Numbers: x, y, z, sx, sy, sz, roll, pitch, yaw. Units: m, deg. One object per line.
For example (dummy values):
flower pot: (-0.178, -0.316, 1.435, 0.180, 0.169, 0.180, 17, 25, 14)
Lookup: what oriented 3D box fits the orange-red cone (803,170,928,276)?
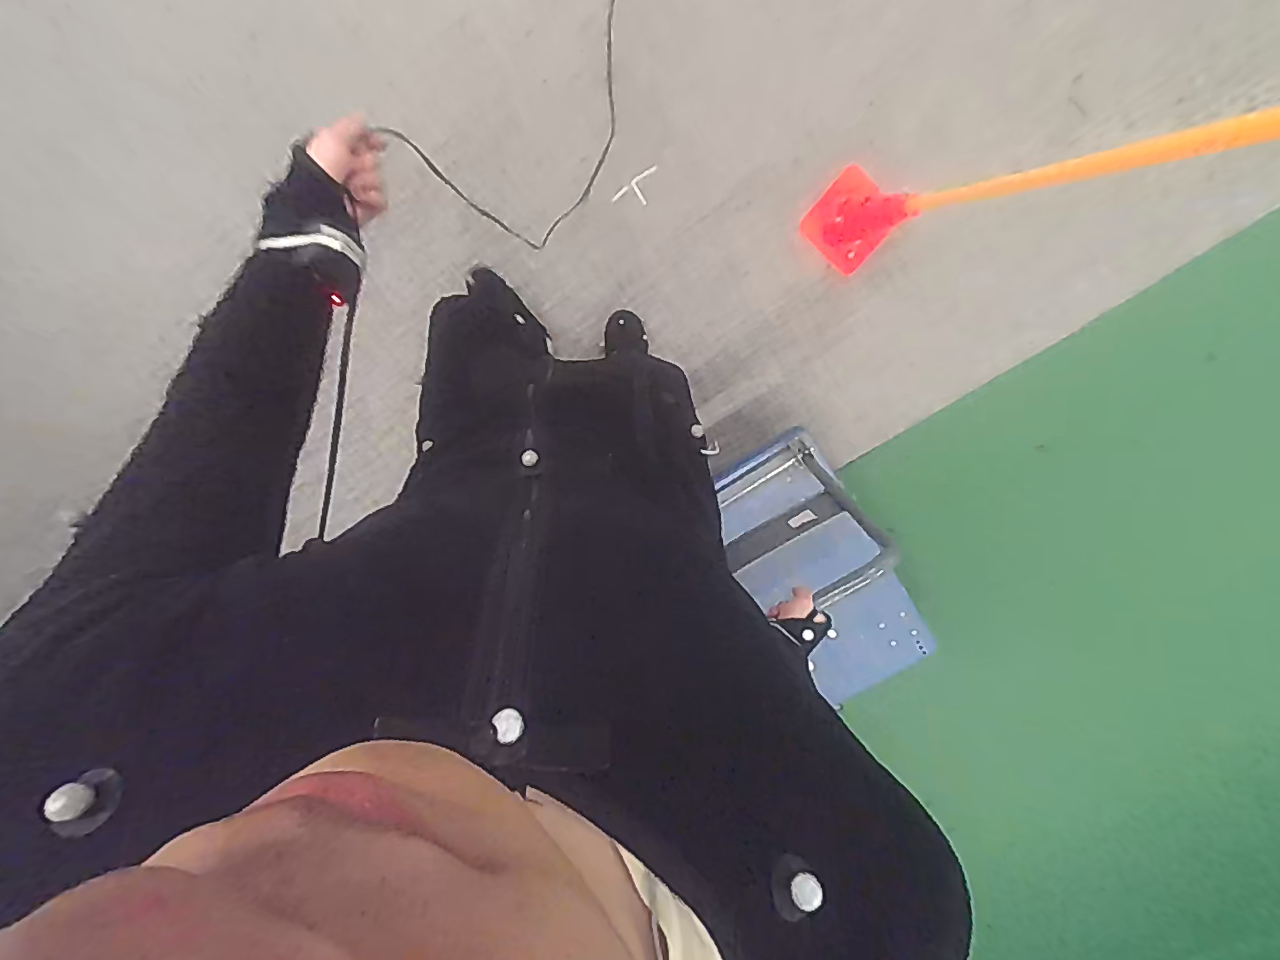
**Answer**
orange-red cone: (0.553, -0.603, 1.240, 0.198, 0.360, 0.199, 39, 104, -15)
